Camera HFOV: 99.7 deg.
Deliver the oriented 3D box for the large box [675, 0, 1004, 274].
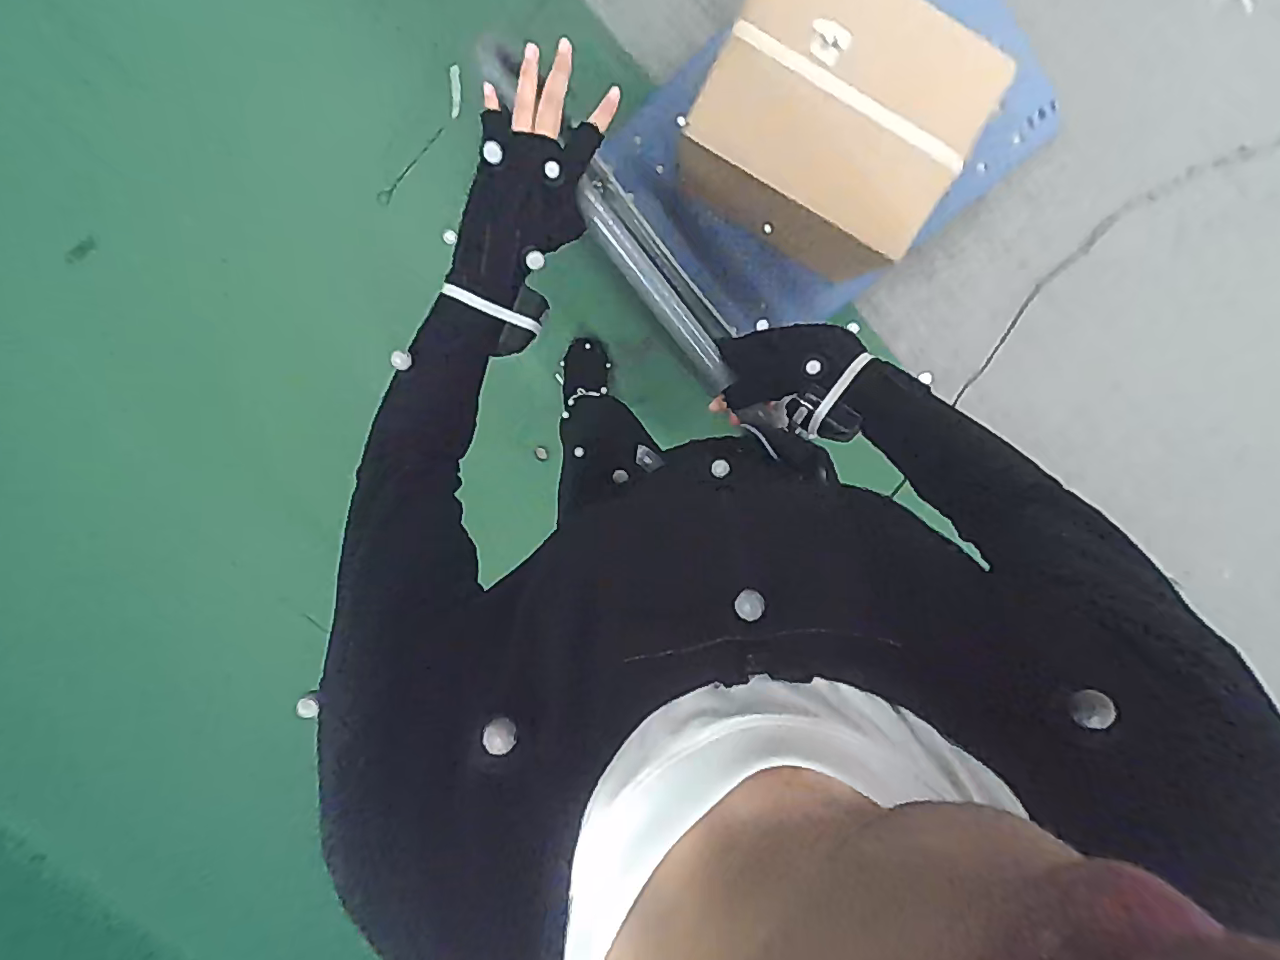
[{"bbox_3d":[0.308,-0.616,0.967,0.408,0.320,0.320,27,103,-4],"label":"large box"}]
